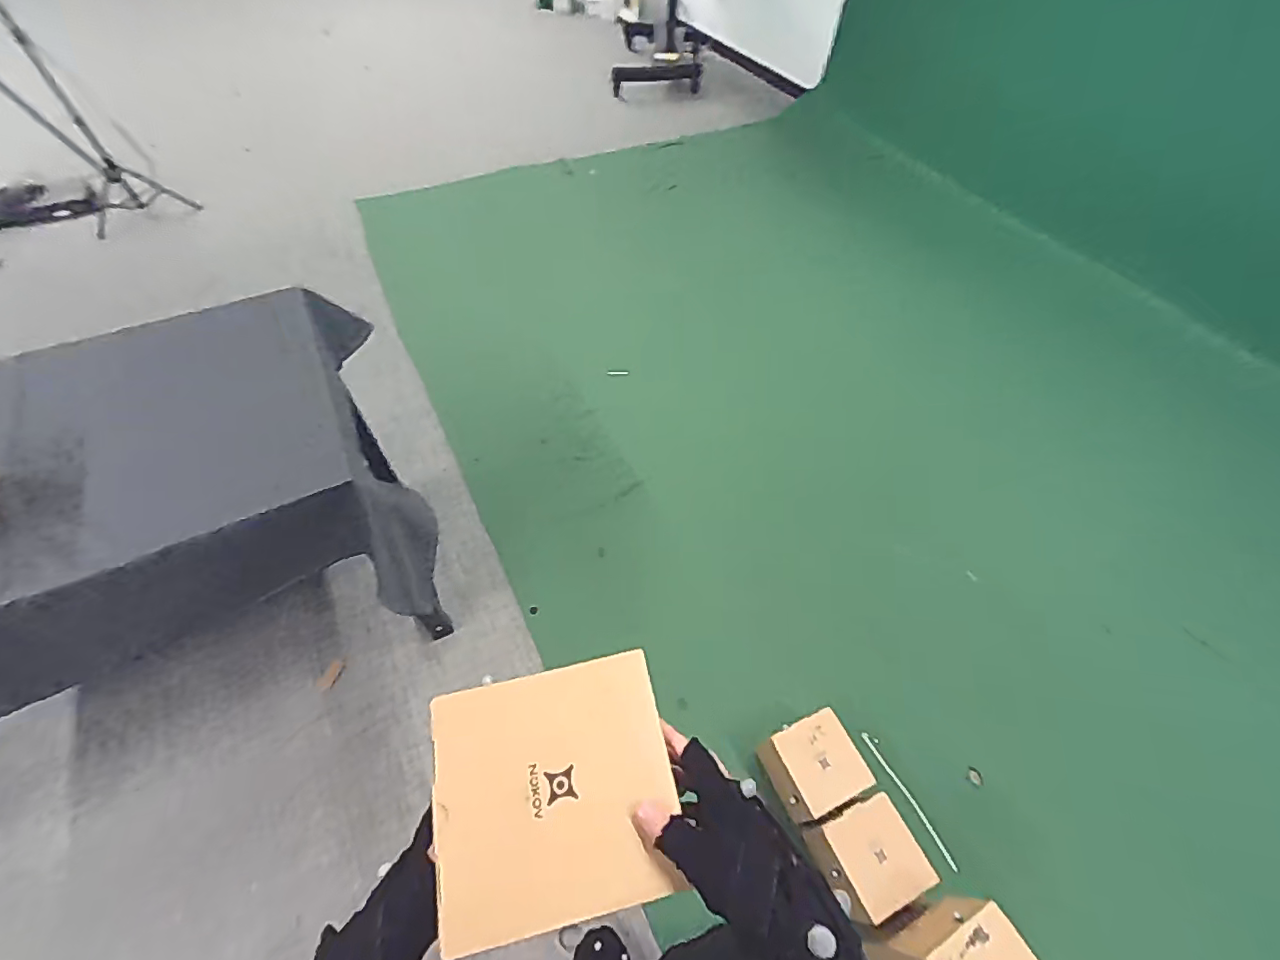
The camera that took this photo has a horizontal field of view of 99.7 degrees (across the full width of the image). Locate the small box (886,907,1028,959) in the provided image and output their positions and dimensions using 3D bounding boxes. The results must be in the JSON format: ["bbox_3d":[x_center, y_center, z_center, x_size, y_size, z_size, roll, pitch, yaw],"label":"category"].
[{"bbox_3d":[0.560,0.862,0.911,0.168,0.176,0.179,-22,58,-17],"label":"small box"}]
